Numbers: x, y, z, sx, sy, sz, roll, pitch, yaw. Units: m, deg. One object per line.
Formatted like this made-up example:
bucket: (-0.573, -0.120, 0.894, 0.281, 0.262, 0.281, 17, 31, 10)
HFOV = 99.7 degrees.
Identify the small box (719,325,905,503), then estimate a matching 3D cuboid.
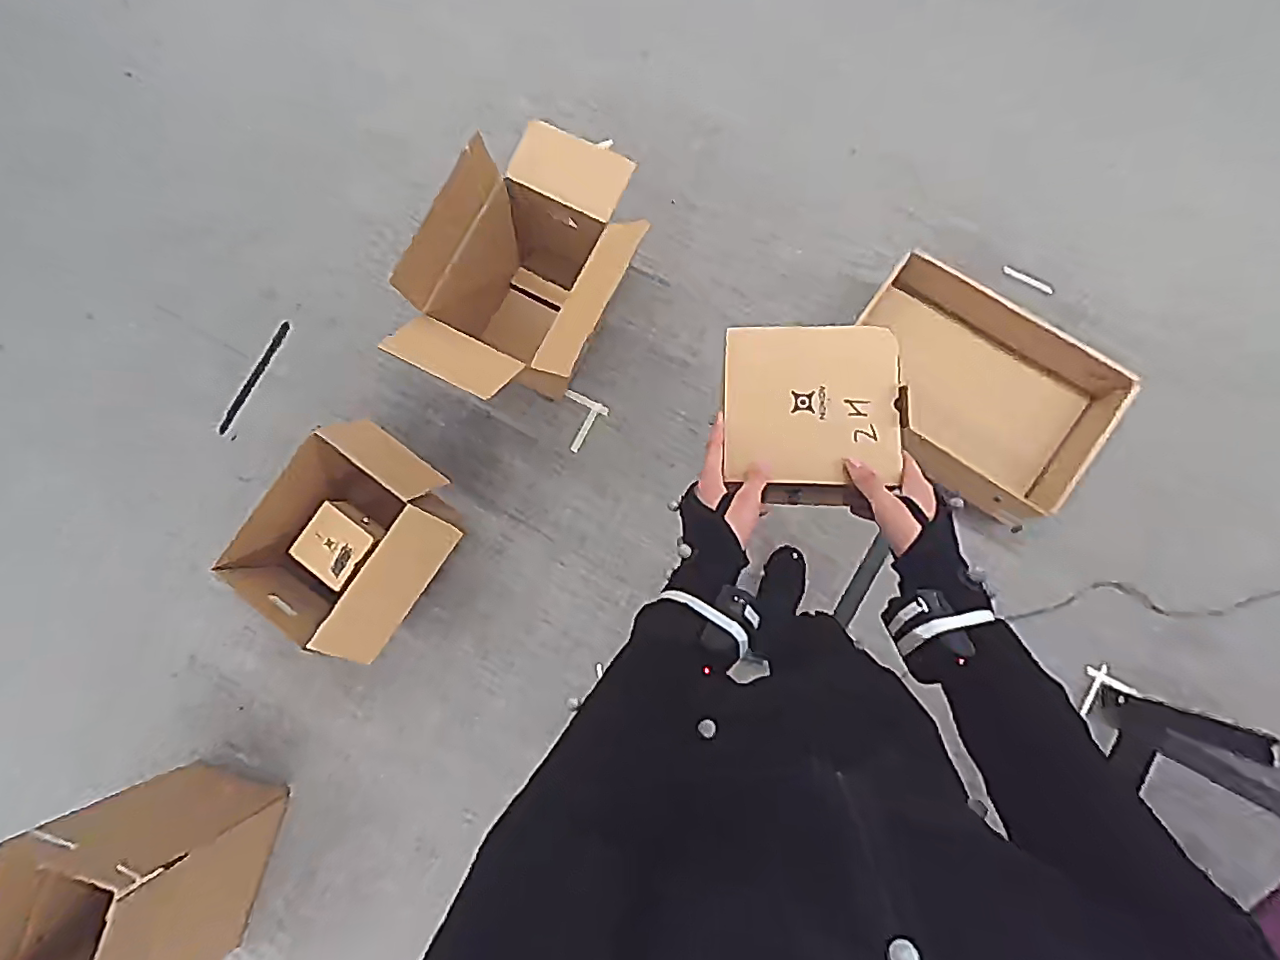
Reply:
small box: (0.181, -0.064, 0.619, 0.179, 0.176, 0.168, 1, 81, 6)
